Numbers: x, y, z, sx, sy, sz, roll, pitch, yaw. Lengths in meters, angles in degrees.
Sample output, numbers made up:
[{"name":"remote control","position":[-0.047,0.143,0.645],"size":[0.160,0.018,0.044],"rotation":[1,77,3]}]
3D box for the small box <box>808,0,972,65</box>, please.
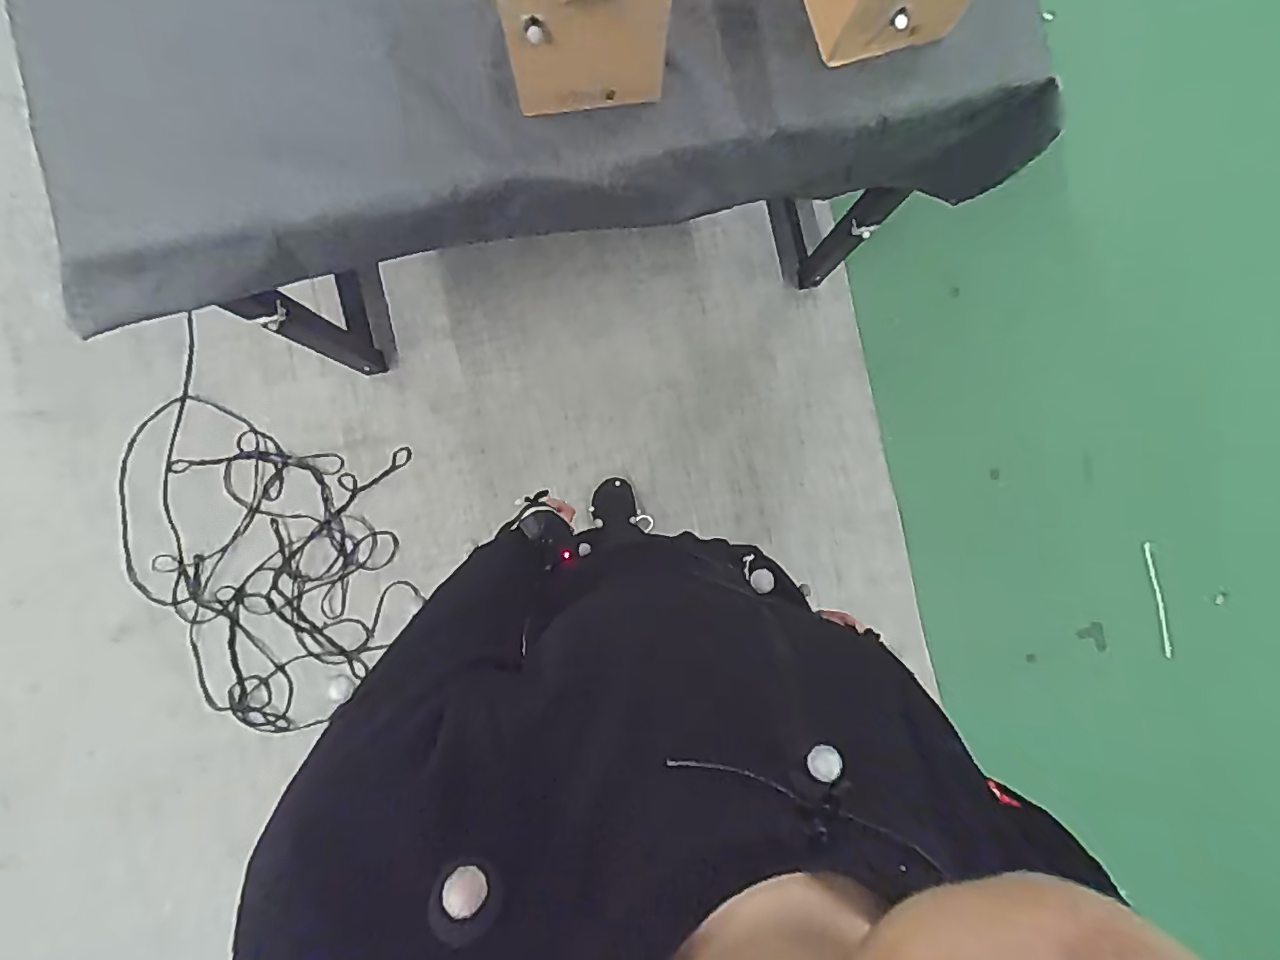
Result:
[{"name":"small box","position":[0.287,-0.614,0.592],"size":[0.168,0.176,0.179],"rotation":[-17,90,-3]}]
